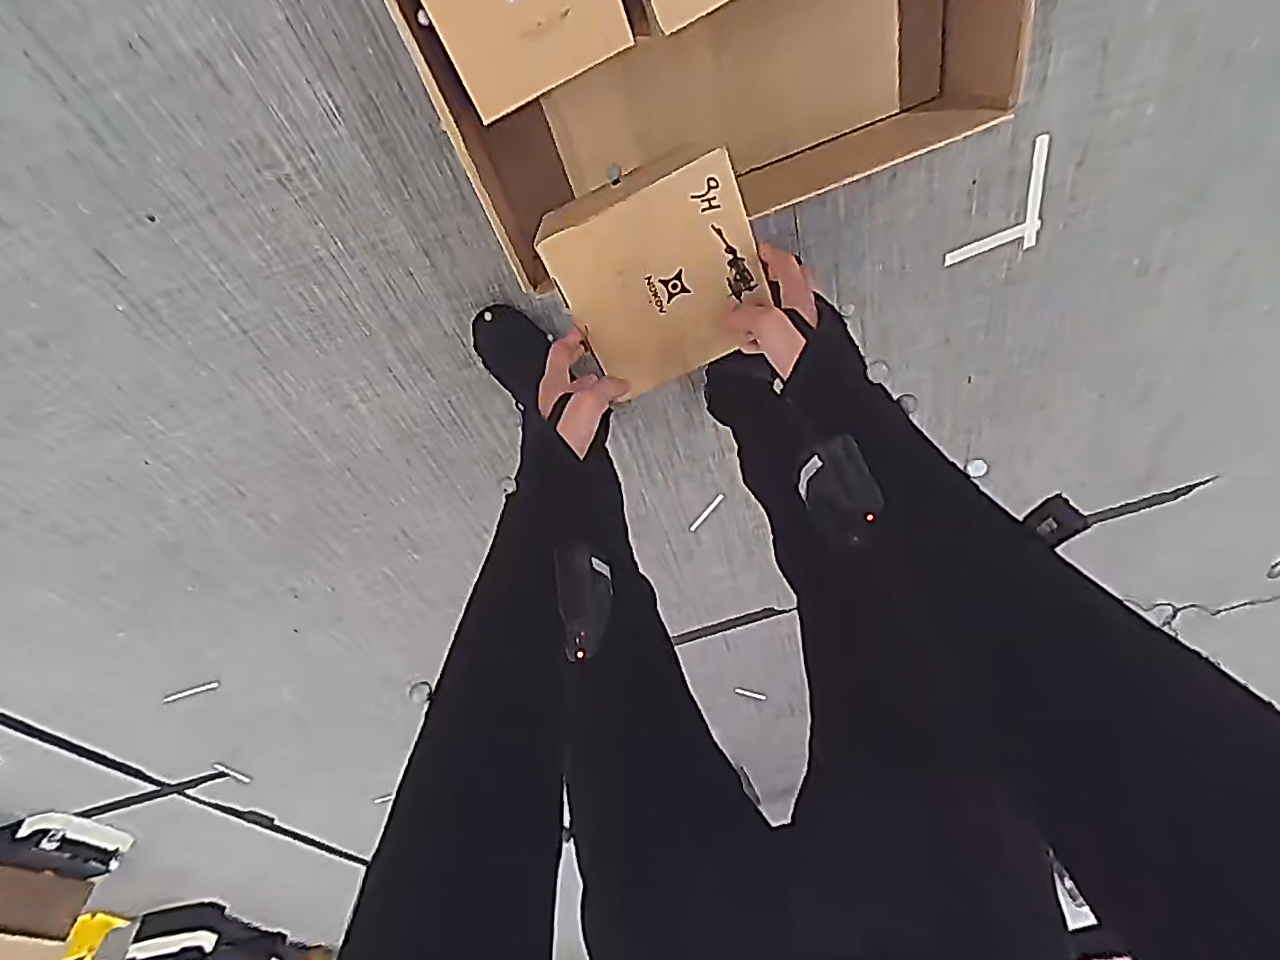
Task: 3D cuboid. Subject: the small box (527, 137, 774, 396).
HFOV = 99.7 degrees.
[{"bbox_3d":[0.009,-0.217,0.542,0.179,0.176,0.168,-24,123,9],"label":"small box"}]
